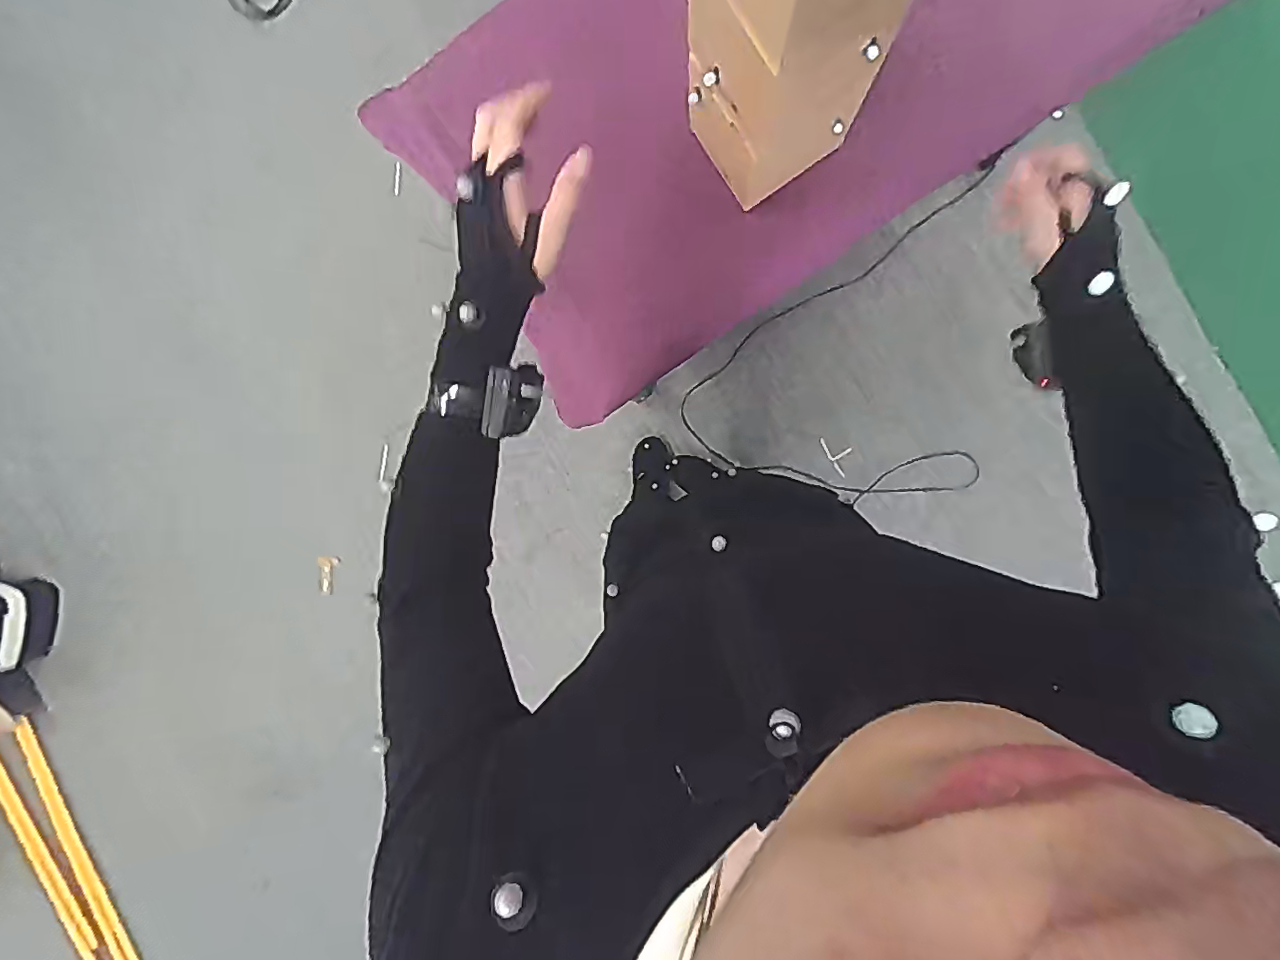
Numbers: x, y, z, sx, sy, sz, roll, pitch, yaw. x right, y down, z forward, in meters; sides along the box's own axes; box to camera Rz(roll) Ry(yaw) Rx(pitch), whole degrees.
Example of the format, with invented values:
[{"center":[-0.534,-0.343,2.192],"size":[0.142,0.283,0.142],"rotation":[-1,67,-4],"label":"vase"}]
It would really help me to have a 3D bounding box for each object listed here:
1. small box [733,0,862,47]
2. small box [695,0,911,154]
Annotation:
[{"center":[0.148,-0.511,0.441],"size":[0.168,0.176,0.179],"rotation":[-34,90,7],"label":"small box"},{"center":[0.171,-0.519,0.602],"size":[0.179,0.176,0.168],"rotation":[-33,90,8],"label":"small box"}]
